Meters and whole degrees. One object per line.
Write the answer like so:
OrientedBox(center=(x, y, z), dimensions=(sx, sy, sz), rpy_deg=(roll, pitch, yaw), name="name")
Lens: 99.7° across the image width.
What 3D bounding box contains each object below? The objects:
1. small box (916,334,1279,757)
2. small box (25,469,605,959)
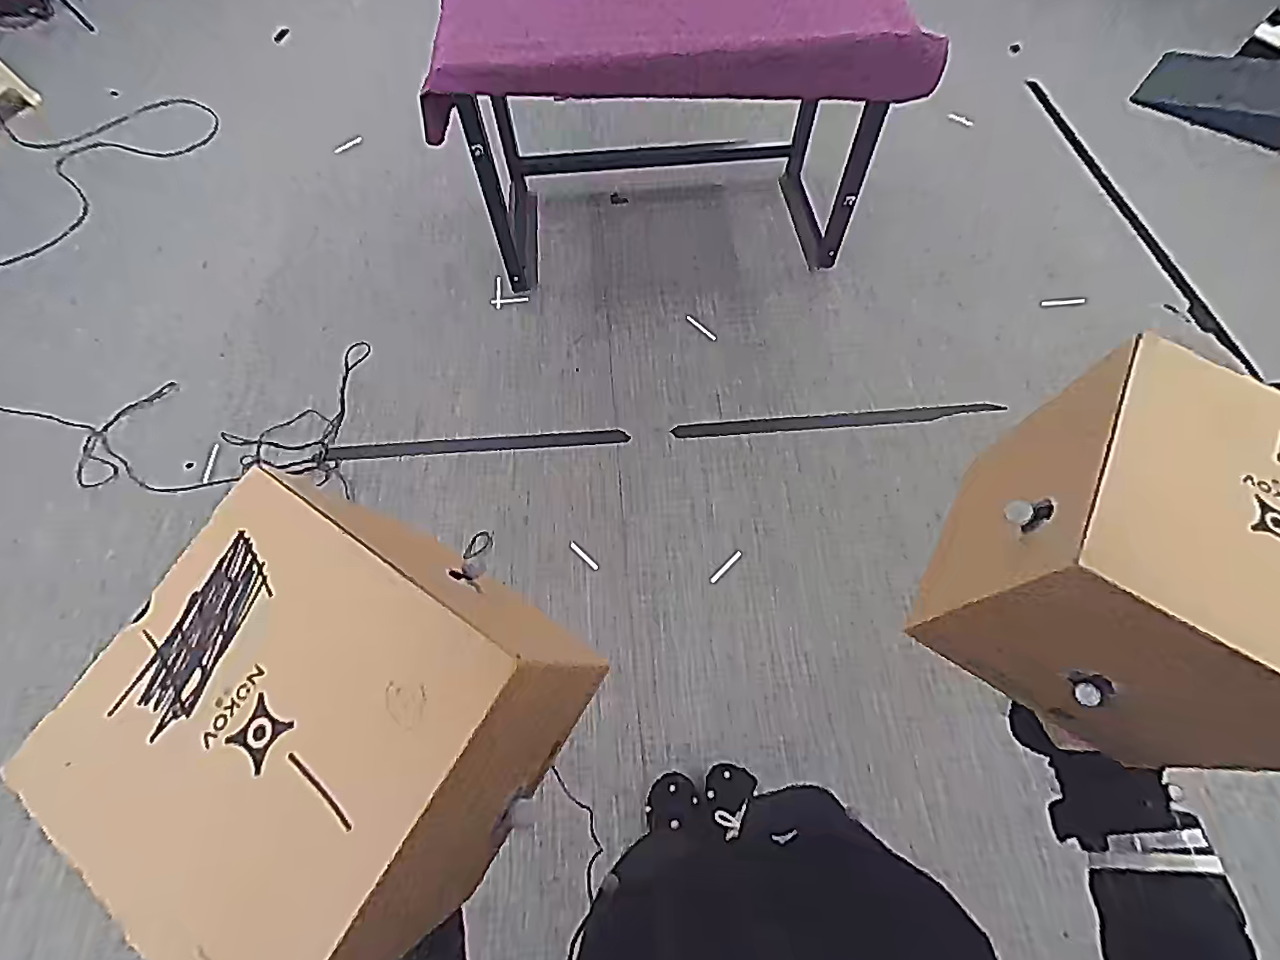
OrientedBox(center=(0.309, 0.053, 0.342), dimensions=(0.168, 0.176, 0.179), rpy_deg=(32, 66, 11), name="small box")
OrientedBox(center=(-0.145, 0.125, 0.303), dimensions=(0.179, 0.176, 0.168), rpy_deg=(28, 78, 17), name="small box")
